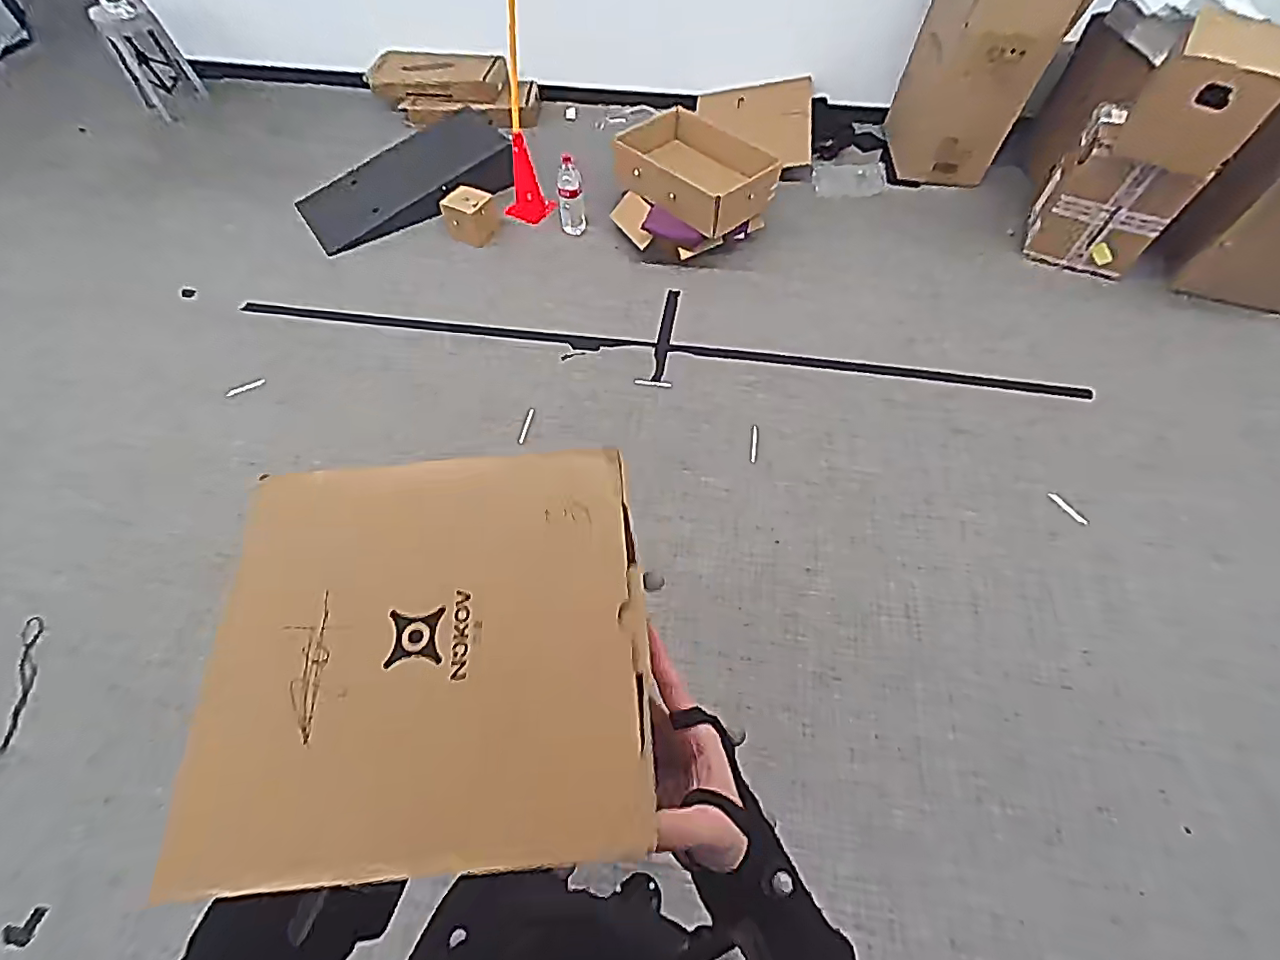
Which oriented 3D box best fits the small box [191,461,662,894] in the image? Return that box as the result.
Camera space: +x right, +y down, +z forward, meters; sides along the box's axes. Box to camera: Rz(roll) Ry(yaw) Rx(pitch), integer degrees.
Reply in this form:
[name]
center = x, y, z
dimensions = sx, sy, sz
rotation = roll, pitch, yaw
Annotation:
[small box]
center = -0.083, 0.107, 0.305
dimensions = 0.179, 0.176, 0.168
rotation = -7, 62, -1
